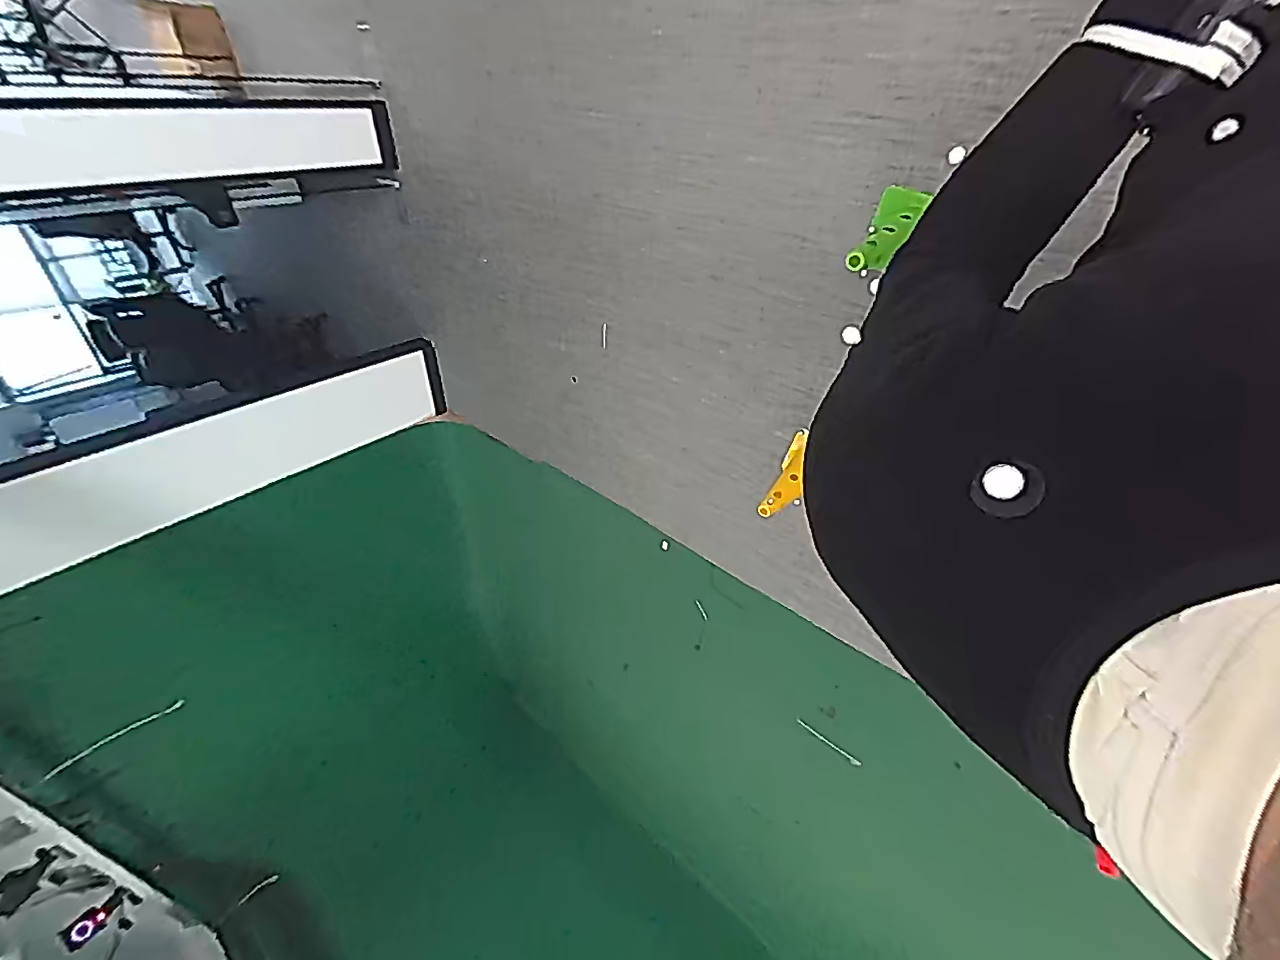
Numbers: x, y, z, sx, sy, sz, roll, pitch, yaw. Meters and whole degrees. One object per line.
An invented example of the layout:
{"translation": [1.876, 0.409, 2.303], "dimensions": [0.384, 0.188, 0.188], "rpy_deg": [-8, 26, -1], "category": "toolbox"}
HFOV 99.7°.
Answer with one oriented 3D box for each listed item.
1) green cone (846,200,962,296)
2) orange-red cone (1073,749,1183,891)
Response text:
{"translation": [0.591, -0.529, 1.306], "dimensions": [0.200, 0.368, 0.202], "rpy_deg": [34, 137, 26], "category": "green cone"}
{"translation": [1.367, 0.992, 1.534], "dimensions": [0.199, 0.360, 0.198], "rpy_deg": [34, 136, 23], "category": "orange-red cone"}
